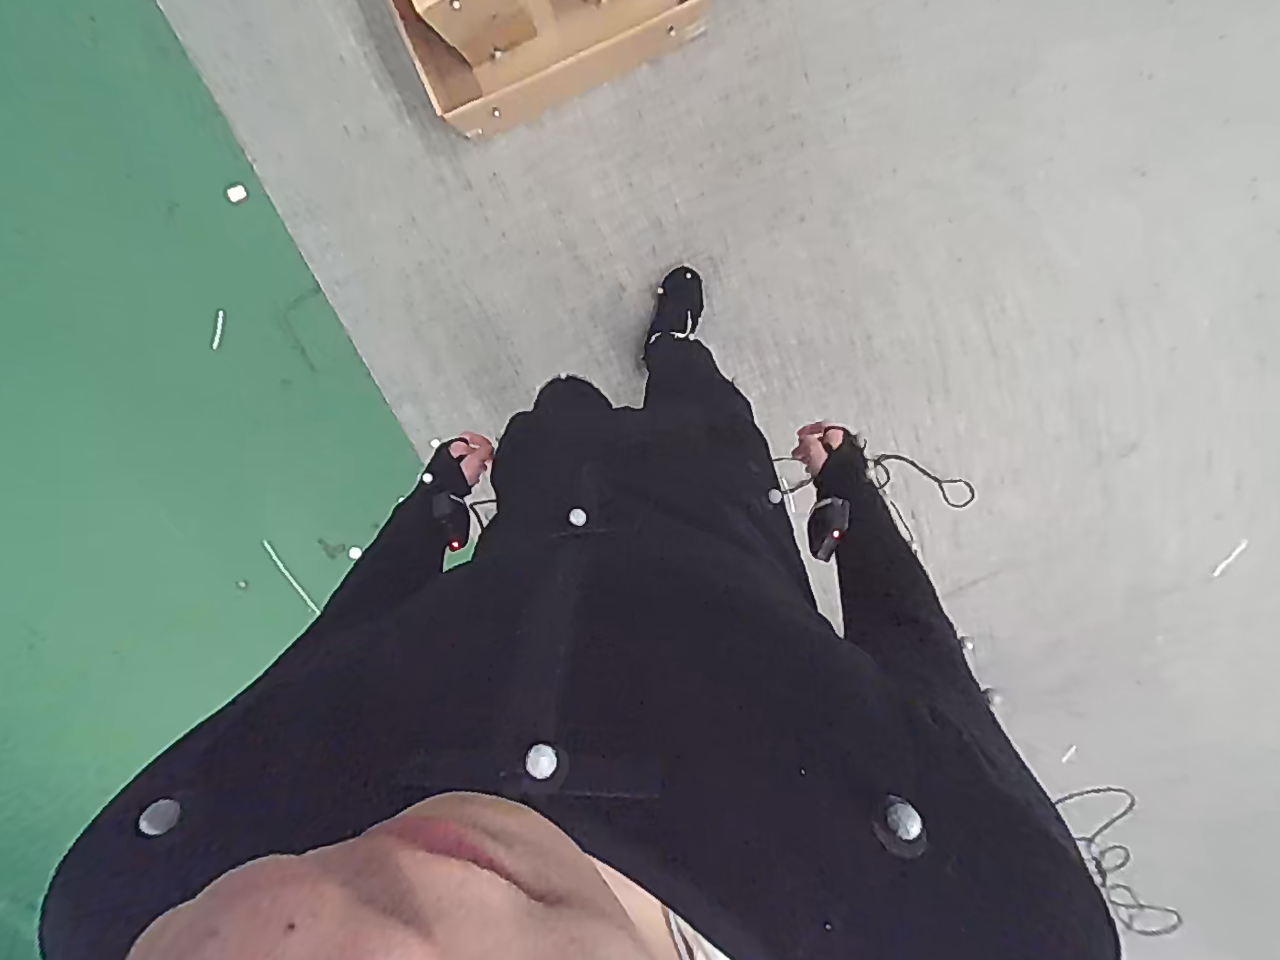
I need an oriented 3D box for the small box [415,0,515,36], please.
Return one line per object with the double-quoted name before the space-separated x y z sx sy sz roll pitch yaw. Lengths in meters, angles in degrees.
"small box" -0.336 -0.933 0.939 0.168 0.176 0.179 -21 111 11
